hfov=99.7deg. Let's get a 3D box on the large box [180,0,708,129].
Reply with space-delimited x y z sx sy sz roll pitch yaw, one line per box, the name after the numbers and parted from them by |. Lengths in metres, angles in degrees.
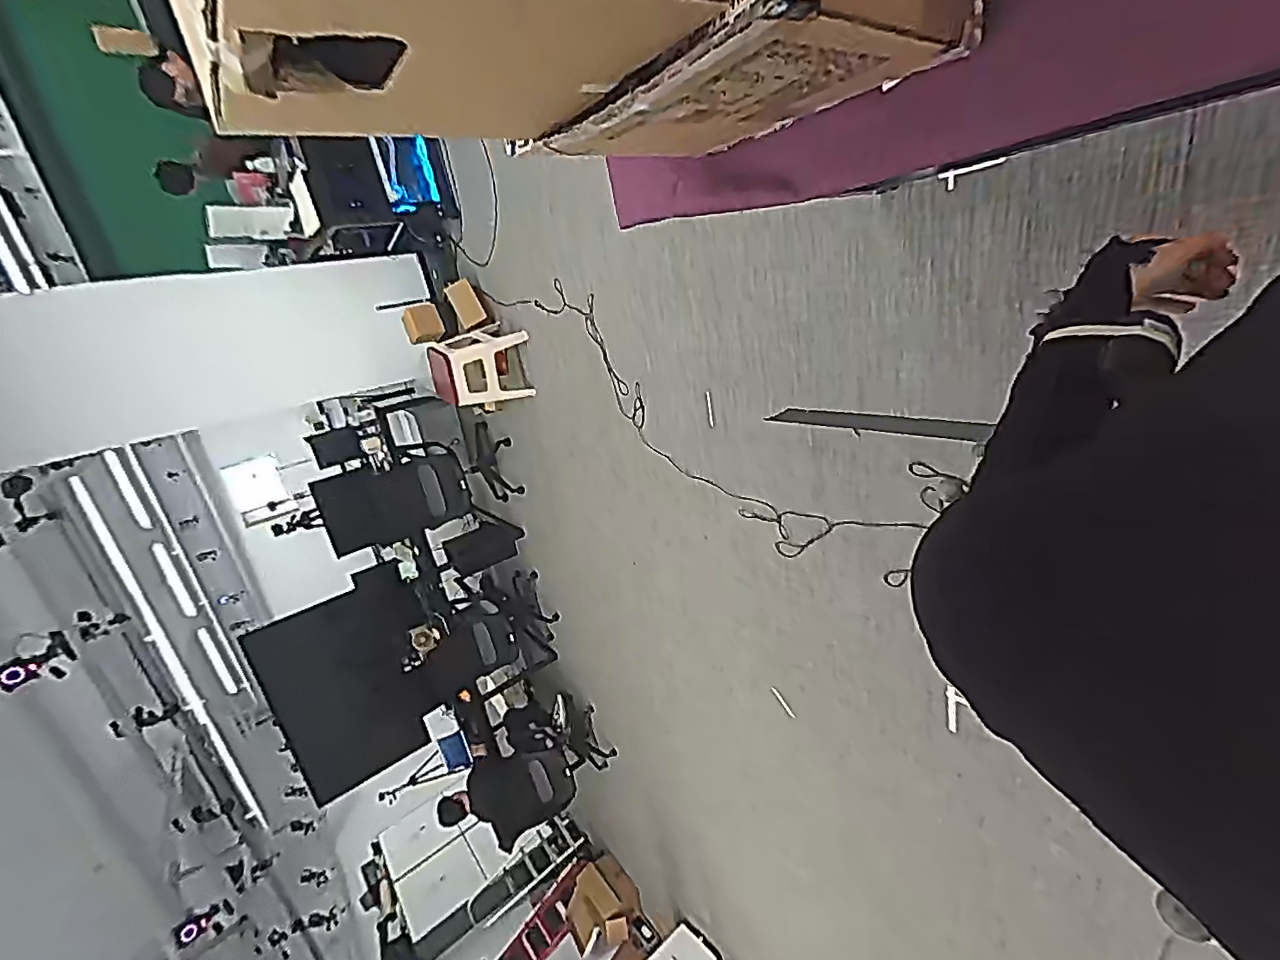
-0.170 -0.504 0.346 0.320 0.320 0.408 16 122 53 | large box
